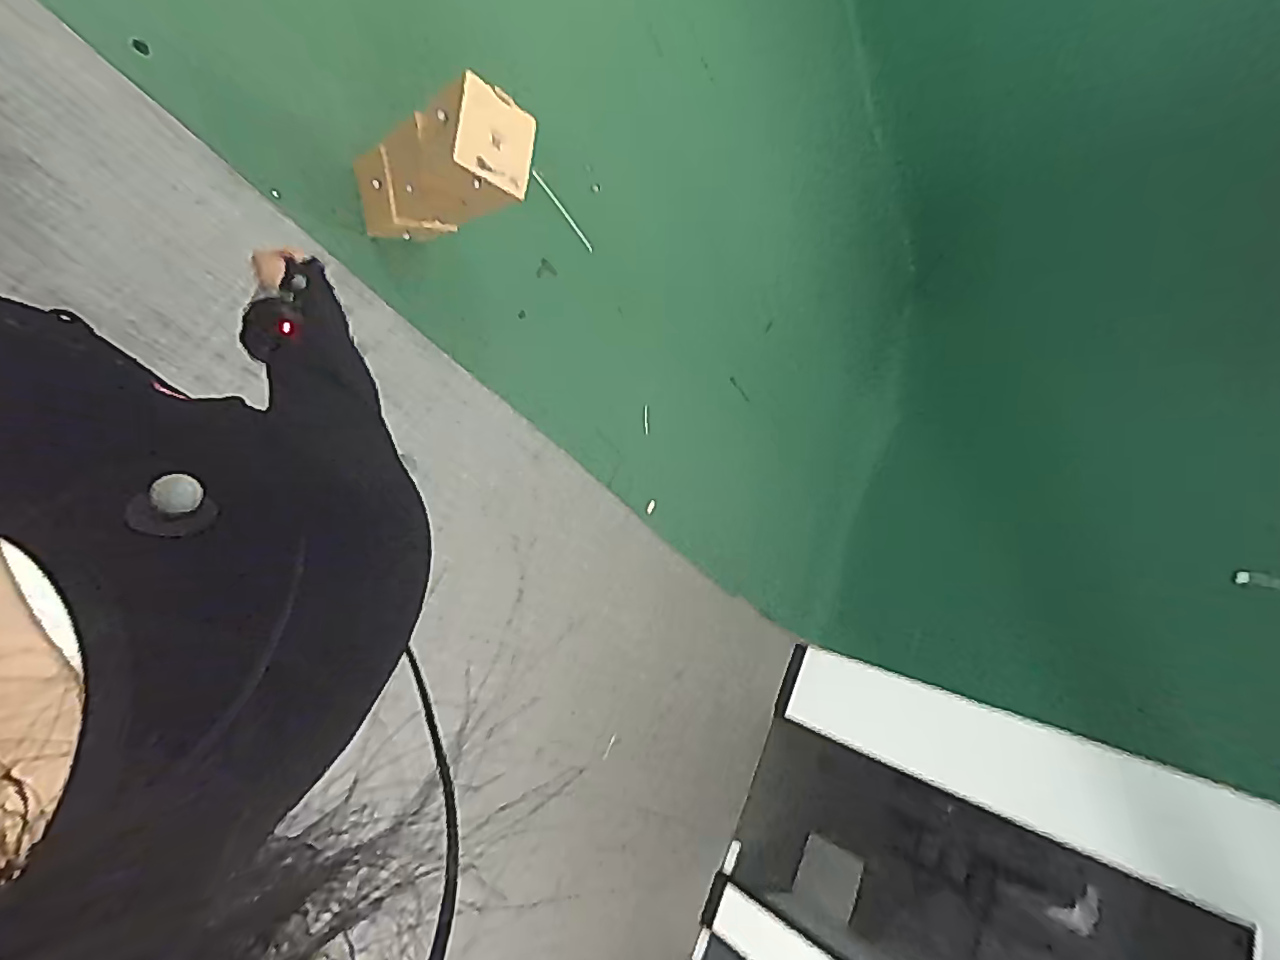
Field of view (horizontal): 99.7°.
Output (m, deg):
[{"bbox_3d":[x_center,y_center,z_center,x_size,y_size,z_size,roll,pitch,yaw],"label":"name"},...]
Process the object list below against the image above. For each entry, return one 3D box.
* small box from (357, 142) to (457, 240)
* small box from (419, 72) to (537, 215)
[{"bbox_3d":[-0.584,-0.713,1.356,0.168,0.176,0.179,-18,110,-44],"label":"small box"},{"bbox_3d":[-0.342,-0.691,1.134,0.168,0.176,0.179,9,91,-47],"label":"small box"}]
